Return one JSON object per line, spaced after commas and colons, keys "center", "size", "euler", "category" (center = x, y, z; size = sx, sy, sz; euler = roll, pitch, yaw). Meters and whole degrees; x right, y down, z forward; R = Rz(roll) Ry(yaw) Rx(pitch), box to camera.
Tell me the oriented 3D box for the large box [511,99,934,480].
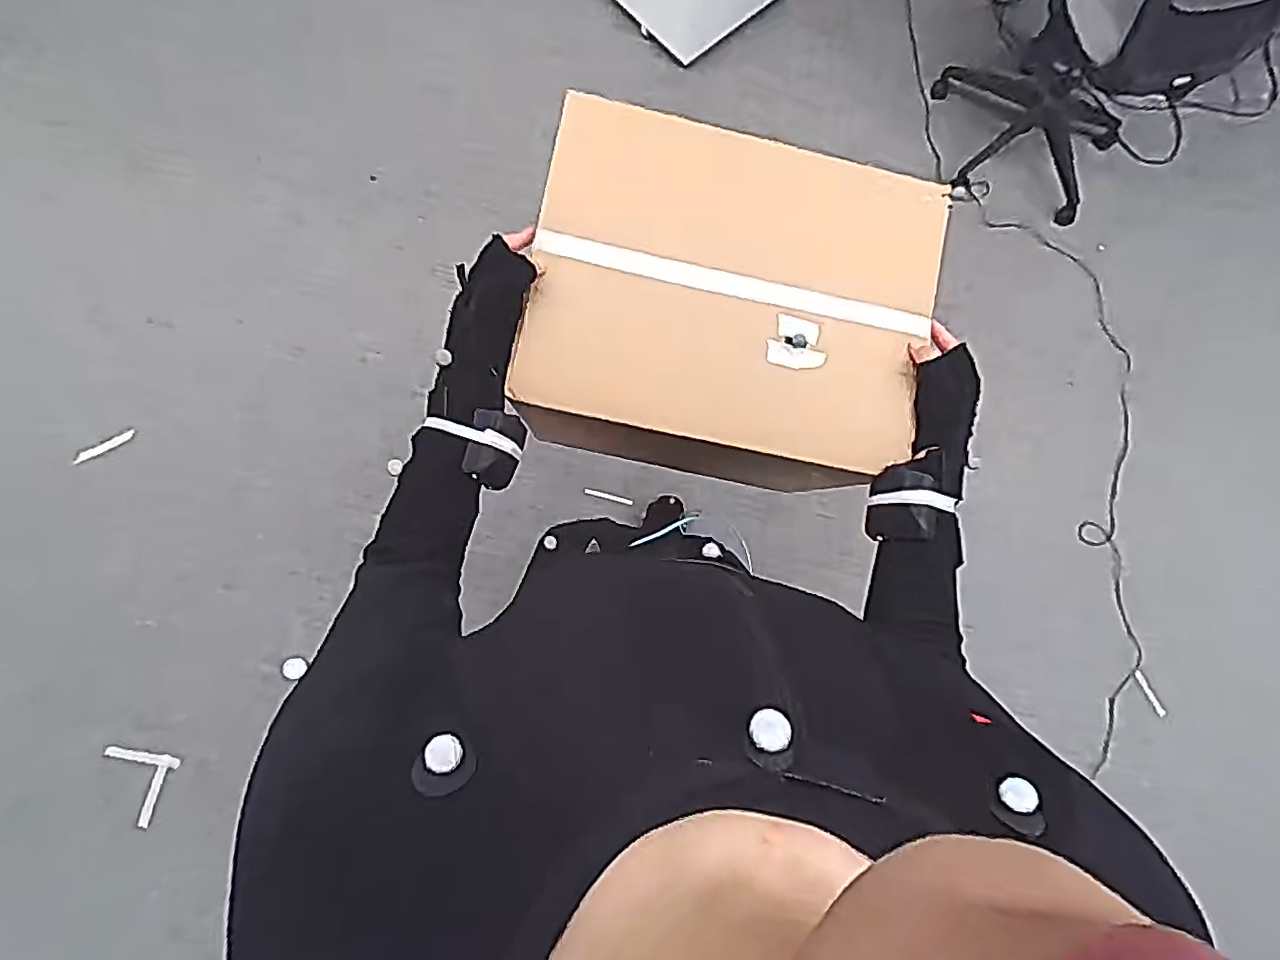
{"center": [0.076, -0.190, 0.693], "size": [0.408, 0.320, 0.320], "euler": [11, 87, -6], "category": "large box"}
